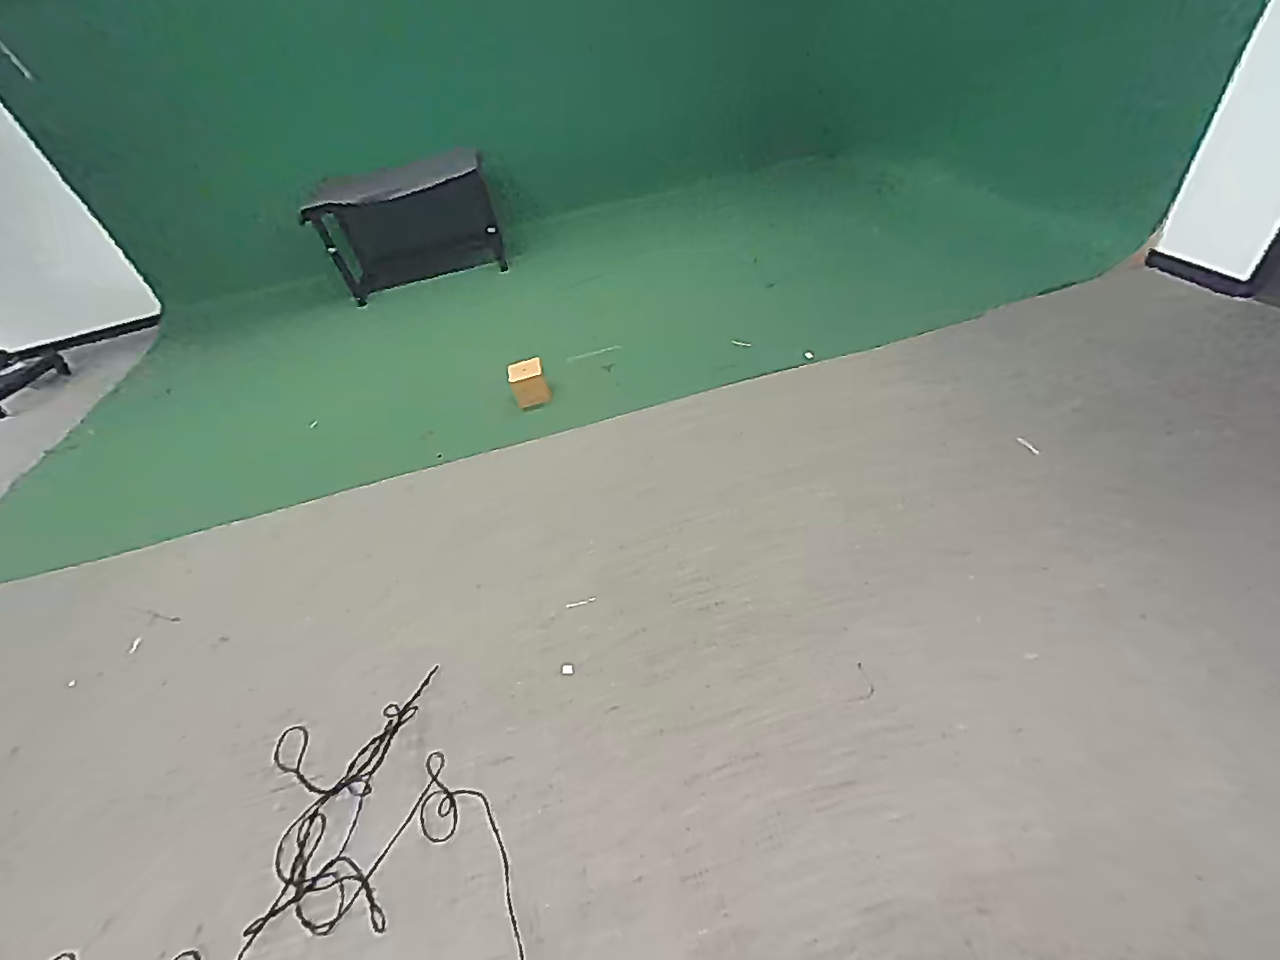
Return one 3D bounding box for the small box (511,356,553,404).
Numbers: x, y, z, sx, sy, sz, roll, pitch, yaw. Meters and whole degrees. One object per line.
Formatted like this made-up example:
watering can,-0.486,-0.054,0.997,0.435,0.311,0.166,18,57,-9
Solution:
small box,-0.559,-0.510,2.794,0.168,0.176,0.179,-17,42,-3
